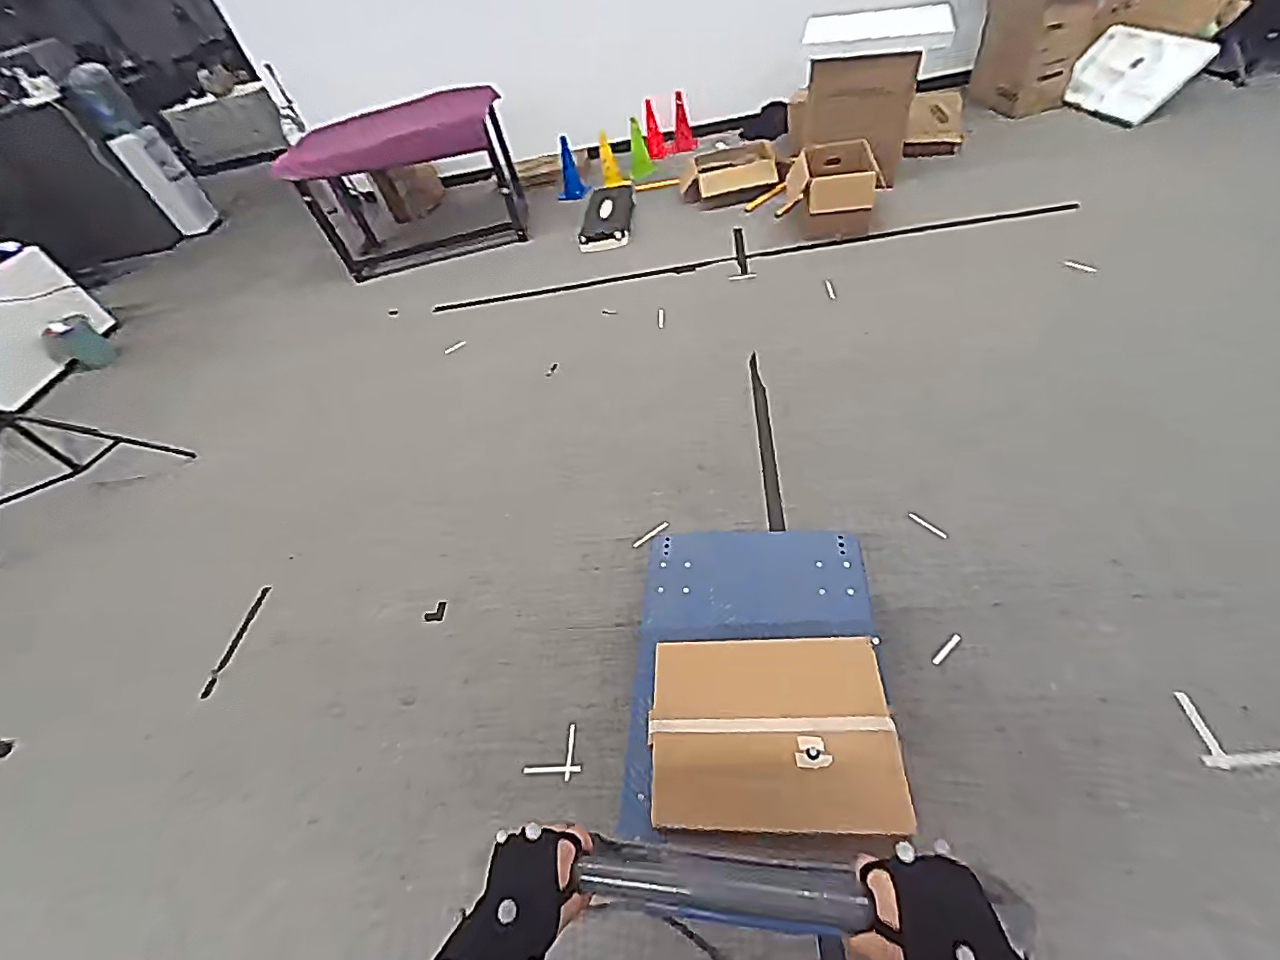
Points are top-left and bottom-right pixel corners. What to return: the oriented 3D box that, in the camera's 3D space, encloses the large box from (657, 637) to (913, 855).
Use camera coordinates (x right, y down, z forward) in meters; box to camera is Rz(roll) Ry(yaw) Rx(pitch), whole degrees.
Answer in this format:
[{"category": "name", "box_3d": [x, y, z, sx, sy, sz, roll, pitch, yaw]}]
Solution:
[{"category": "large box", "box_3d": [0.249, 0.525, 1.054, 0.408, 0.320, 0.320, -5, 50, 9]}]
